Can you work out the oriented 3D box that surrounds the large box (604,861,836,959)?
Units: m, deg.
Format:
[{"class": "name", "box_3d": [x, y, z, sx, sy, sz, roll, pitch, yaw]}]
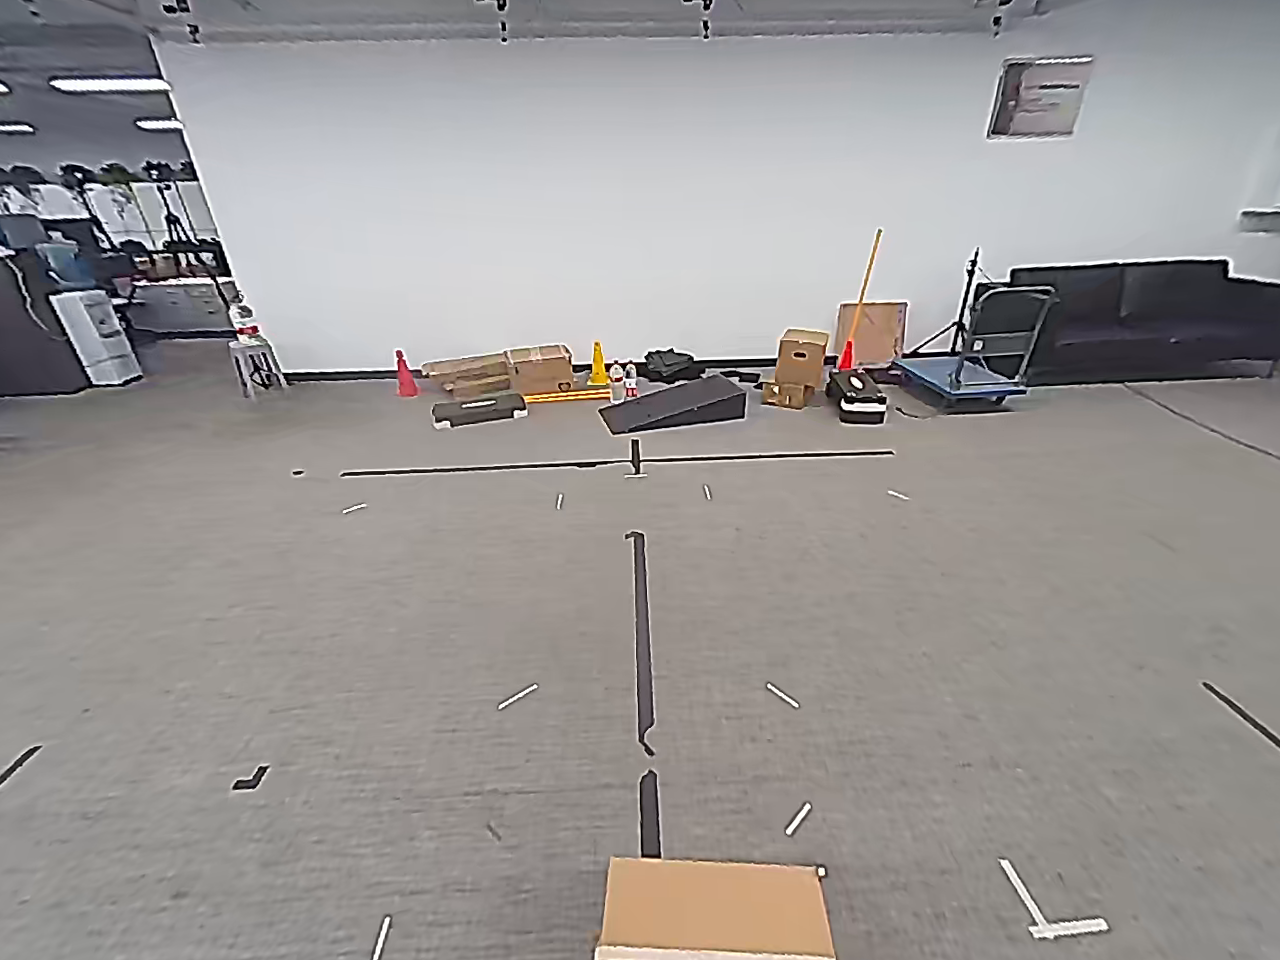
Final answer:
[{"class": "large box", "box_3d": [0.135, 0.950, 0.984, 0.408, 0.320, 0.320, 1, 28, 2]}]
